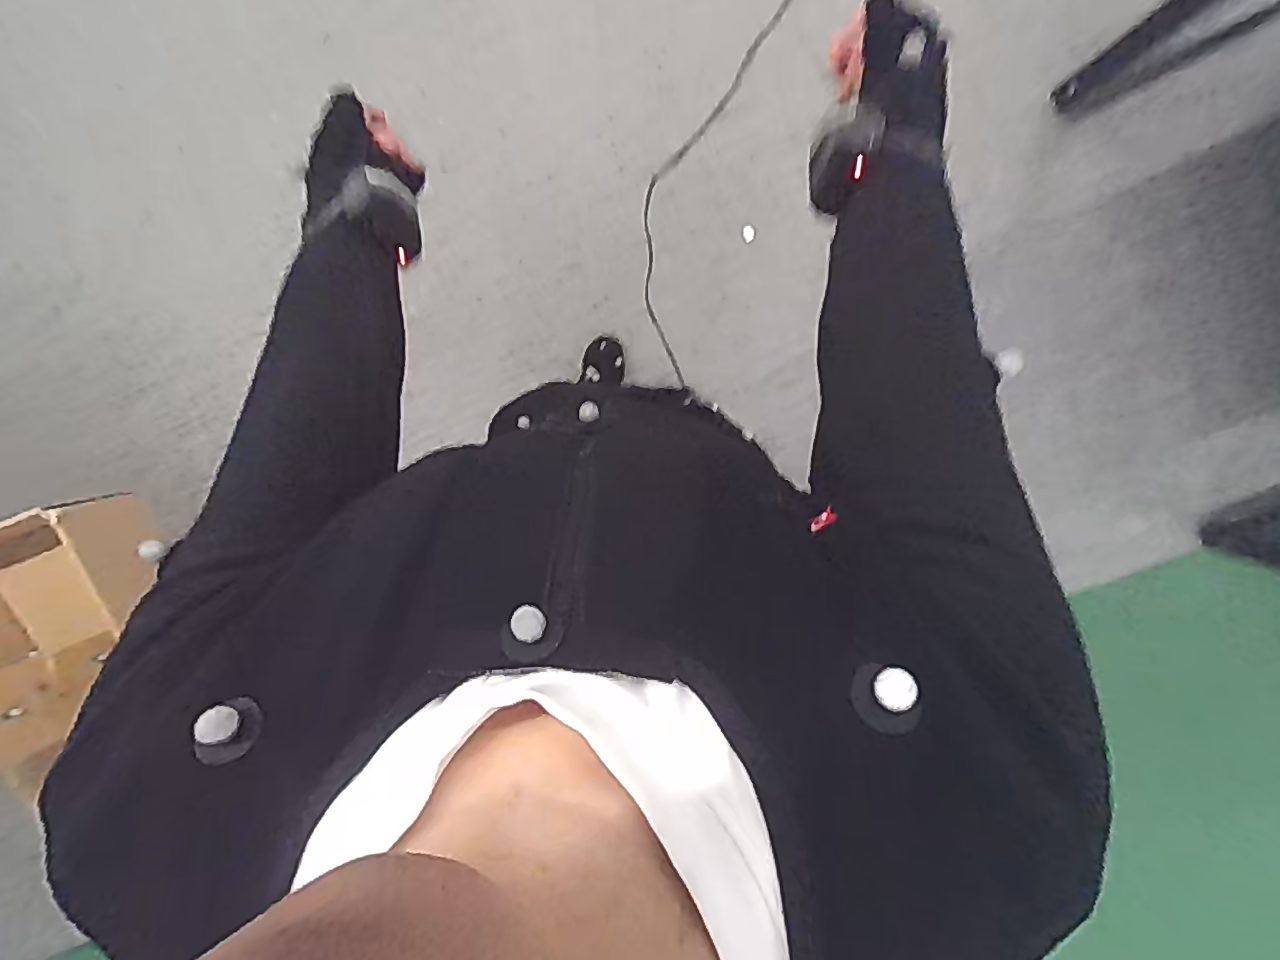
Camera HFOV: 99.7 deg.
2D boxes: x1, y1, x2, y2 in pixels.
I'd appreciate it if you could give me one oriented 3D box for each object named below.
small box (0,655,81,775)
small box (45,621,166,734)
[{"bbox_3d":[-1.184,0.446,0.979,0.179,0.176,0.168,-23,95,8],"label":"small box"},{"bbox_3d":[-1.158,0.421,1.139,0.179,0.176,0.168,-20,95,11],"label":"small box"}]
